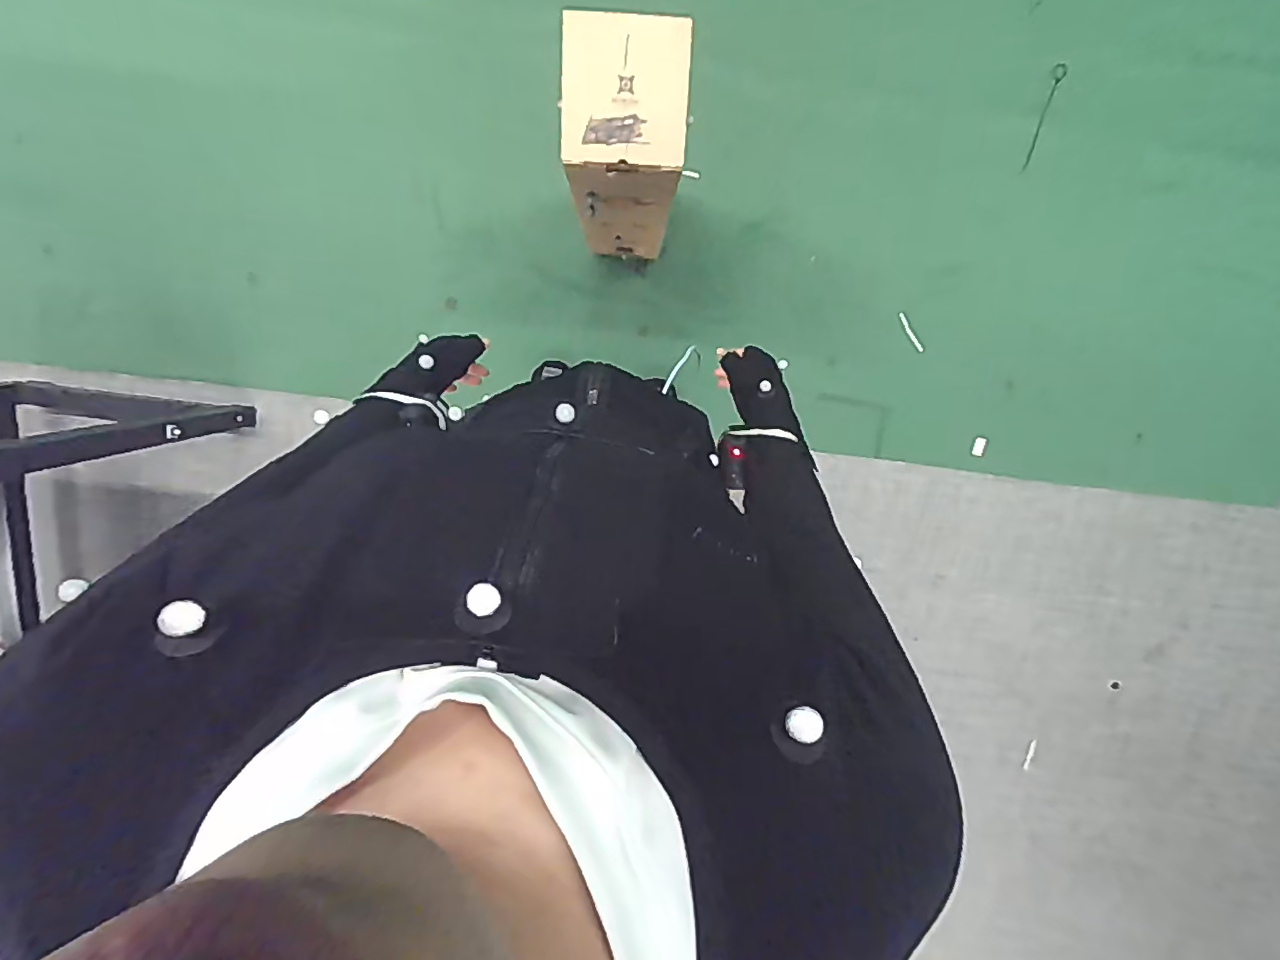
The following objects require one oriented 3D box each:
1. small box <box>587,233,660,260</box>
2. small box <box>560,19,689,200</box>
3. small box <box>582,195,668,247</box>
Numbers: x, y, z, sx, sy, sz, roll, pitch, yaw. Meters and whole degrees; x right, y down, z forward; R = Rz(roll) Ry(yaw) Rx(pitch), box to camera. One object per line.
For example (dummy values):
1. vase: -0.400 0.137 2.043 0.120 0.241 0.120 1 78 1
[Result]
1. small box: -0.031 -0.624 1.254 0.168 0.176 0.179 5 103 -2
2. small box: -0.021 -0.513 0.776 0.168 0.176 0.179 -1 105 -1
3. small box: -0.029 -0.588 1.096 0.168 0.176 0.179 3 104 -3
